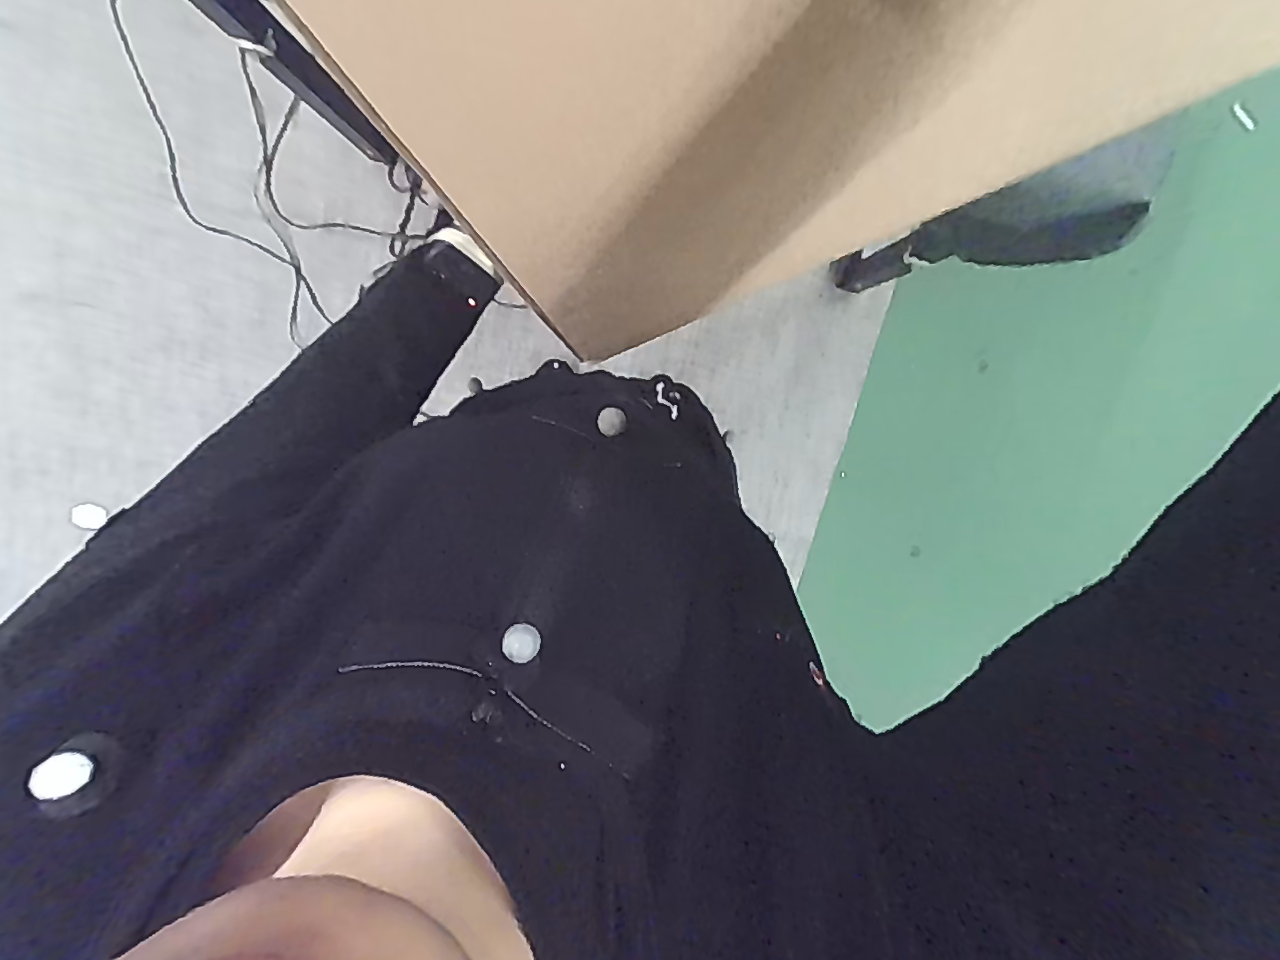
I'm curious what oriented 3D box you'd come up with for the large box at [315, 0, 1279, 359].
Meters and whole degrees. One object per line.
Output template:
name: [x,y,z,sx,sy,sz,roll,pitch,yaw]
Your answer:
large box: [0.067,-0.337,0.285,0.408,0.320,0.320,-22,59,16]
